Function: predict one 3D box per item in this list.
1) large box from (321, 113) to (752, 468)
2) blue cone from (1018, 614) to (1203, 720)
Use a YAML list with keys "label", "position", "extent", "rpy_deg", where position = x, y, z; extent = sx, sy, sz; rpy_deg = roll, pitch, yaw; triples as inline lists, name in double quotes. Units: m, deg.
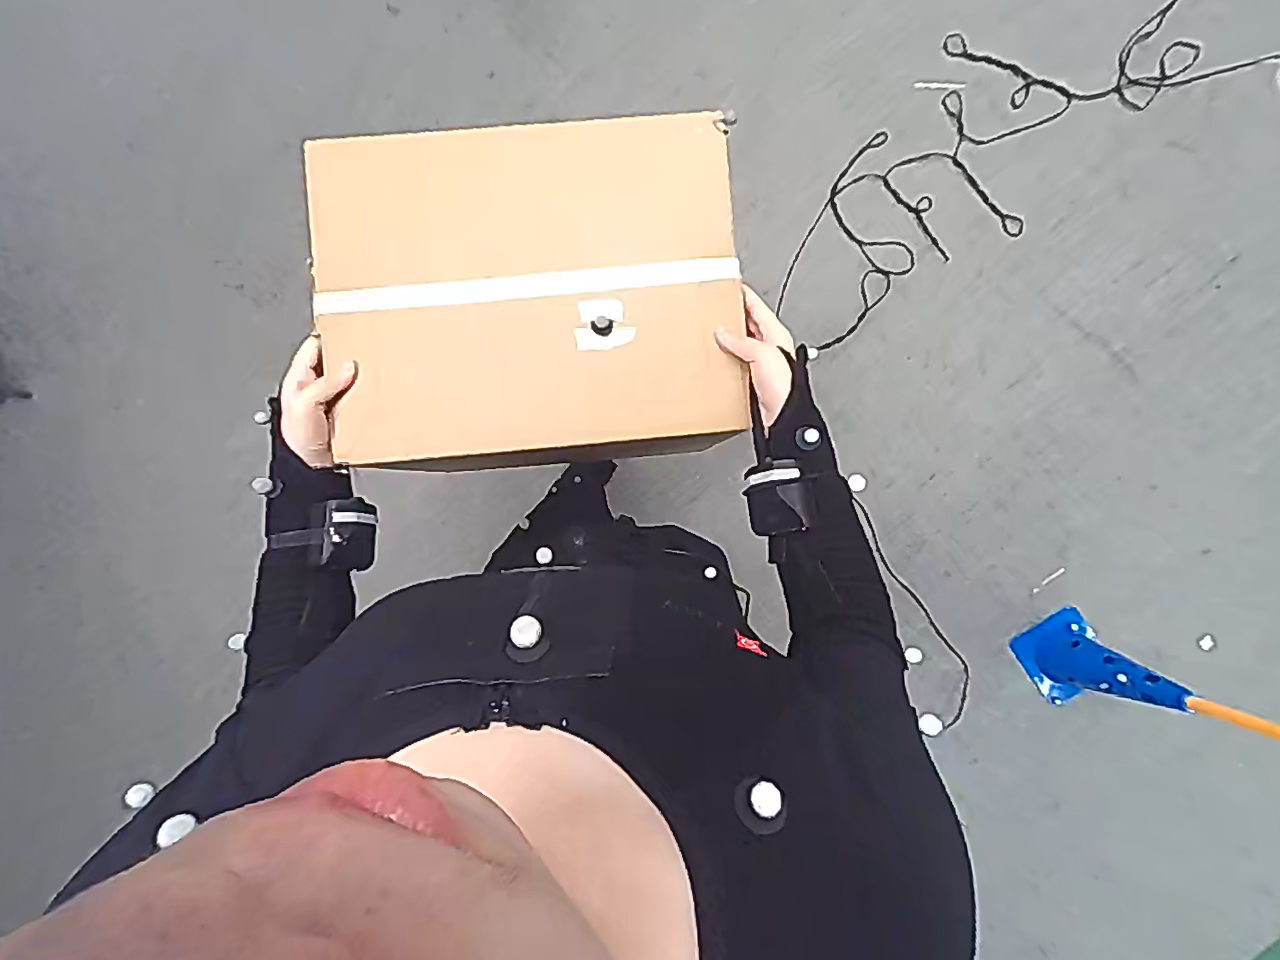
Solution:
- label: "large box"
  position: [-0.107, -0.193, 0.679]
  extent: [0.408, 0.320, 0.320]
  rpy_deg: [-5, 90, -3]
- label: "blue cone"
  position: [1.090, 0.453, 1.242]
  extent: [0.193, 0.380, 0.192]
  rpy_deg: [-31, 86, 1]
